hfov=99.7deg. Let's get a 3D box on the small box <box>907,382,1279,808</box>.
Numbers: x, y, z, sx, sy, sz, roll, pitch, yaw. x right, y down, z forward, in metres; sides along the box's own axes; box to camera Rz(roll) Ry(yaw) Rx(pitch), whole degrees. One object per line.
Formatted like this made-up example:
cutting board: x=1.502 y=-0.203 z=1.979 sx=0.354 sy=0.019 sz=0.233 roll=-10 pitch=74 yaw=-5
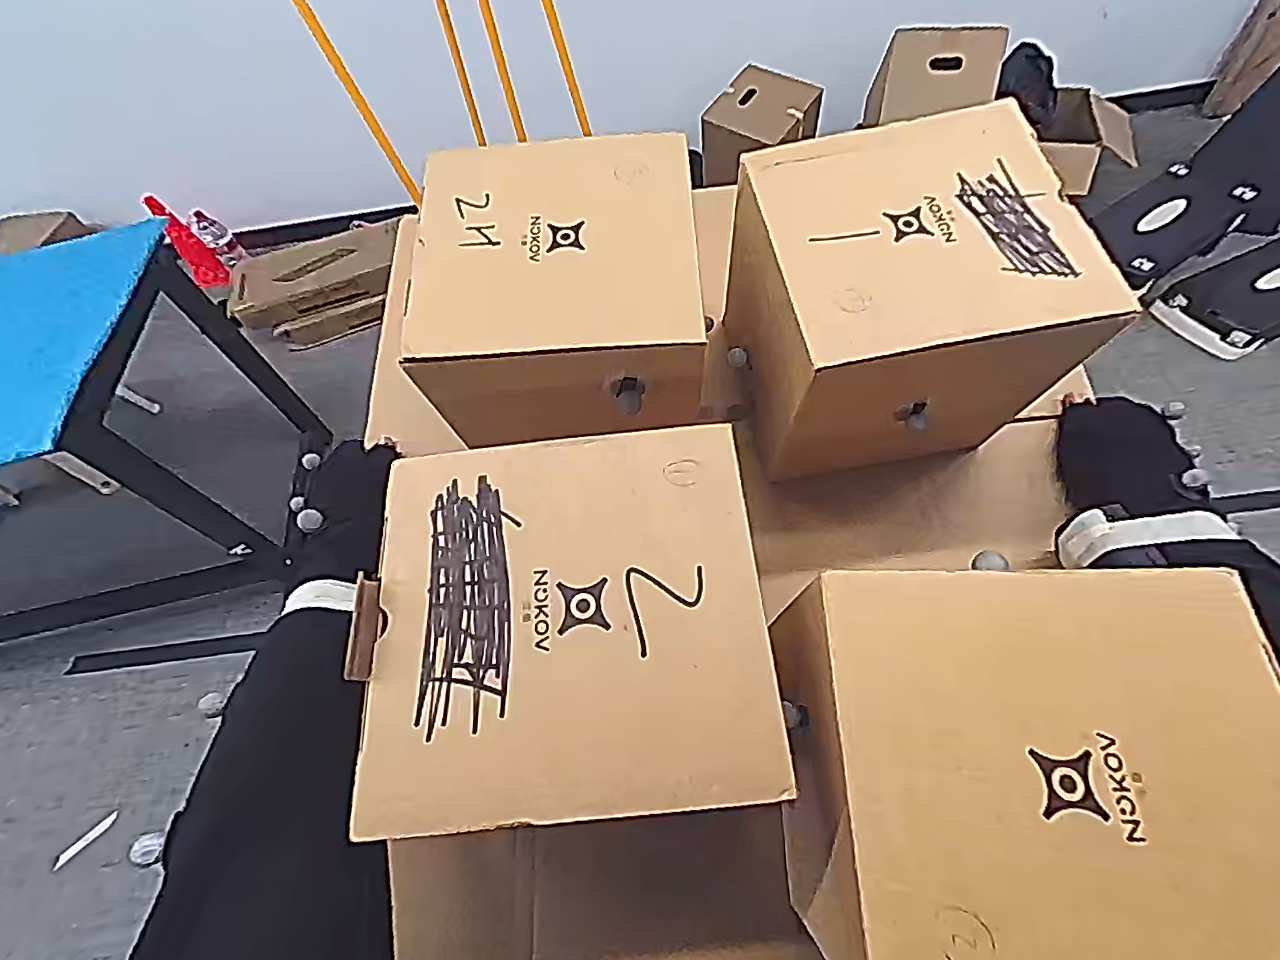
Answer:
small box: x=0.269 y=0.066 z=0.289 sx=0.179 sy=0.176 sz=0.168 roll=11 pitch=74 yaw=8
